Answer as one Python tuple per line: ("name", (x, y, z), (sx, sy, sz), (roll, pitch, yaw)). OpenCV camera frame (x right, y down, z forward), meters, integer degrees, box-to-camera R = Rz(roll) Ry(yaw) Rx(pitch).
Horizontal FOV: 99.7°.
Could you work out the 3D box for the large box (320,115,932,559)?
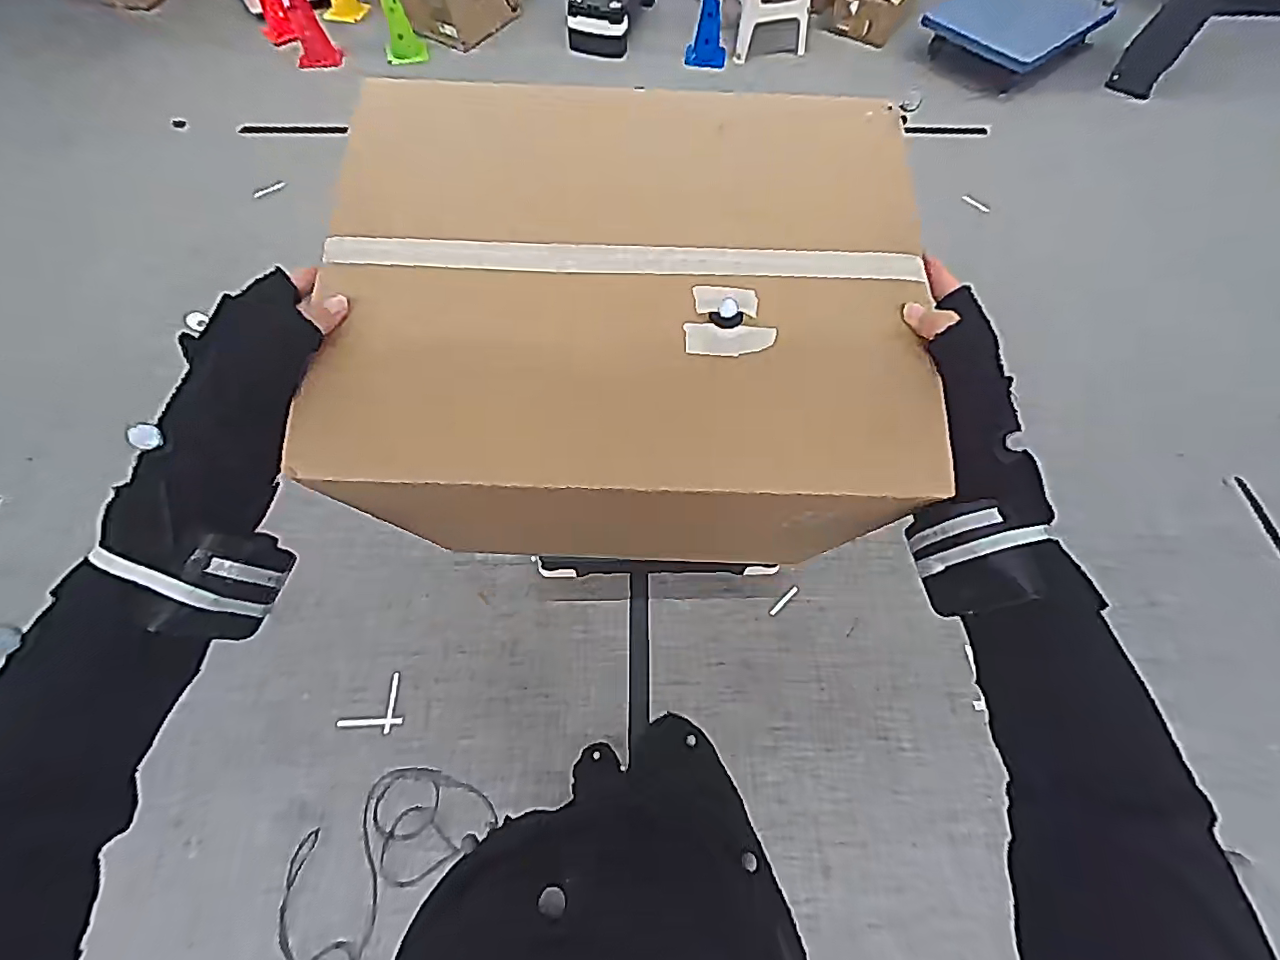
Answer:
("large box", (-0.010, -0.099, 0.531), (0.408, 0.320, 0.320), (2, 74, -1))
